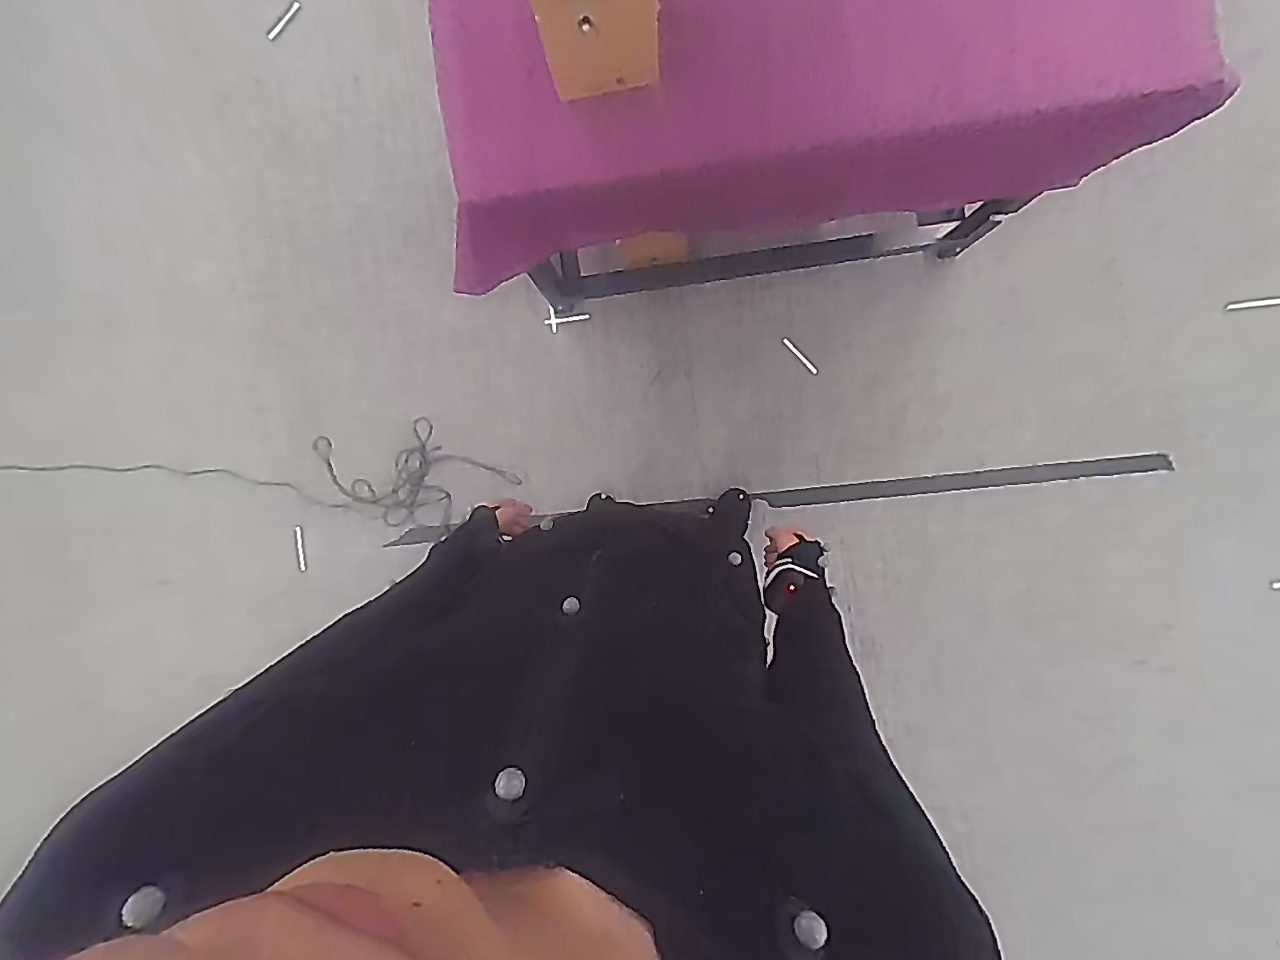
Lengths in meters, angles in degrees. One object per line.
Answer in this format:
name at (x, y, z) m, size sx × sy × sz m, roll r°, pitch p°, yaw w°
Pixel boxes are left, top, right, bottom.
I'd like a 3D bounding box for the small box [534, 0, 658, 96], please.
small box at (-0.067, -0.717, 0.793) m, size 0.168 × 0.176 × 0.179 m, roll -9°, pitch 91°, yaw 3°
